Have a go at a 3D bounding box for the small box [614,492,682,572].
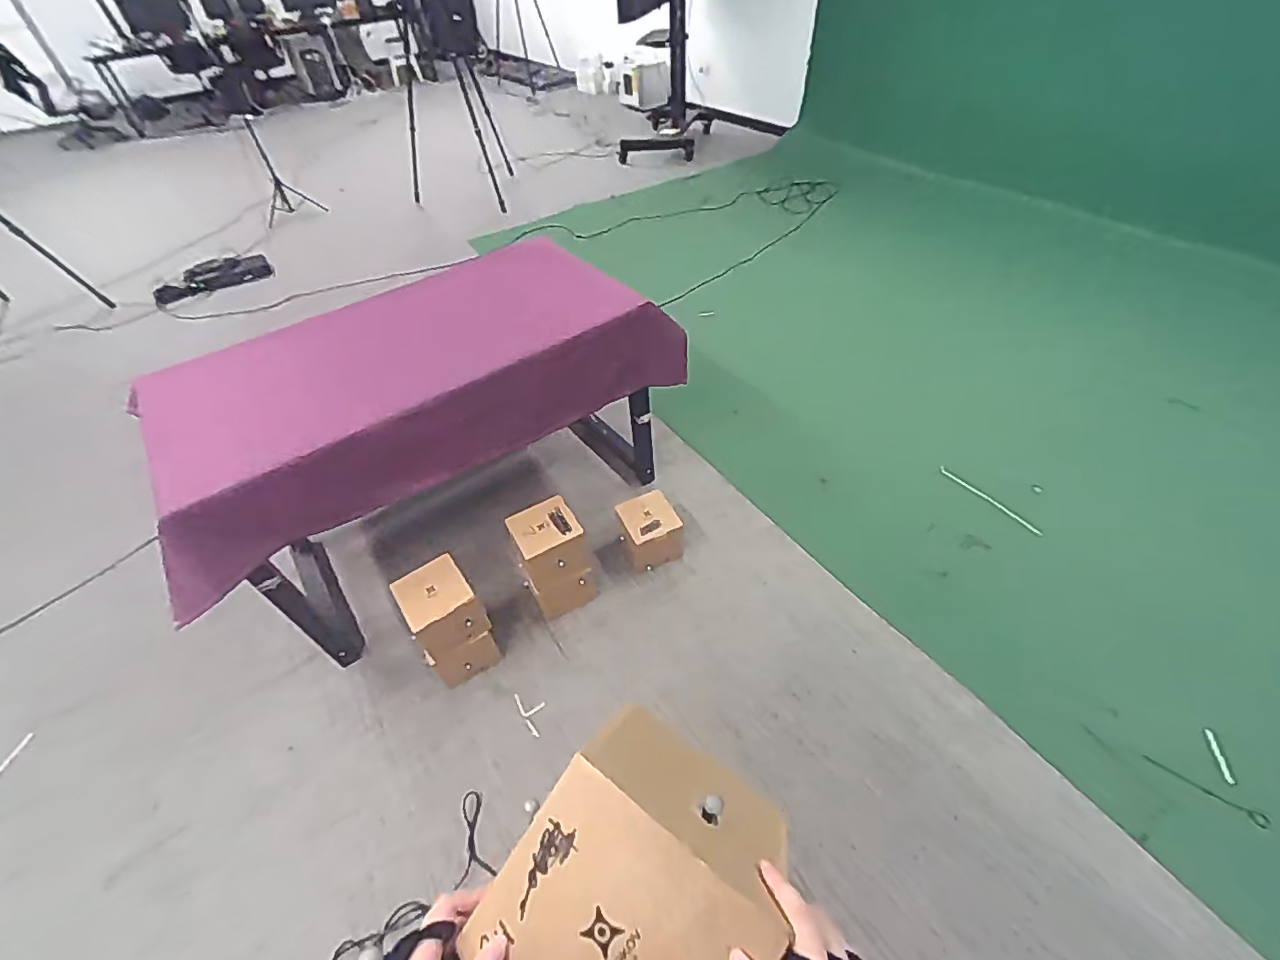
[{"bbox_3d":[0.030,0.177,1.769,0.168,0.176,0.179,-21,48,-15],"label":"small box"}]
